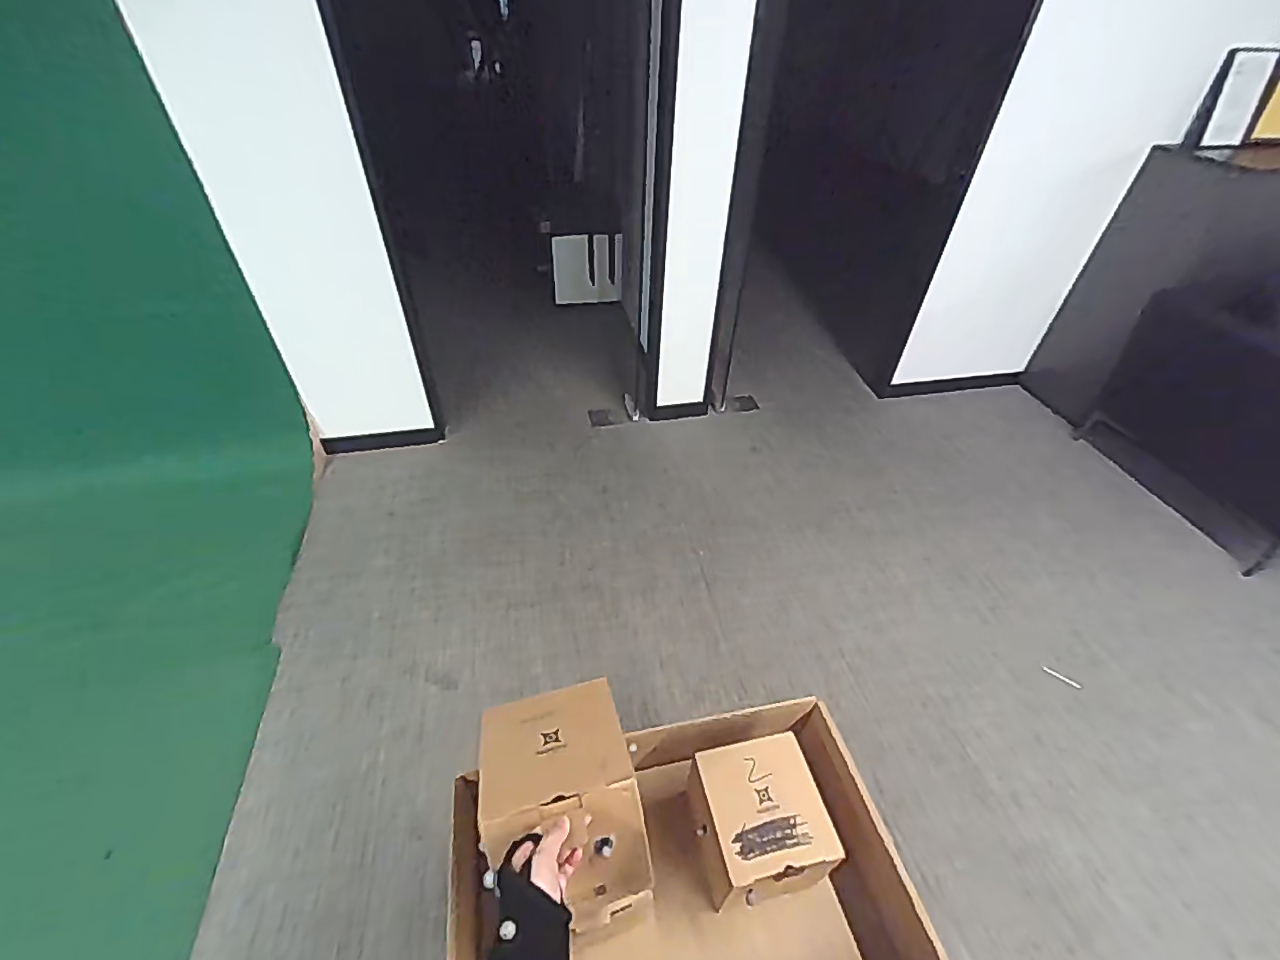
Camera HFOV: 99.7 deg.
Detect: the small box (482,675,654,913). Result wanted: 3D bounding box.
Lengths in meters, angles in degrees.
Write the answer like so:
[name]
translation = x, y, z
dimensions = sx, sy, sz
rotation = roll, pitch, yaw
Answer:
[small box]
translation = -0.087, 0.378, 0.660
dimensions = 0.168, 0.176, 0.179
rotation = -11, 18, -10
